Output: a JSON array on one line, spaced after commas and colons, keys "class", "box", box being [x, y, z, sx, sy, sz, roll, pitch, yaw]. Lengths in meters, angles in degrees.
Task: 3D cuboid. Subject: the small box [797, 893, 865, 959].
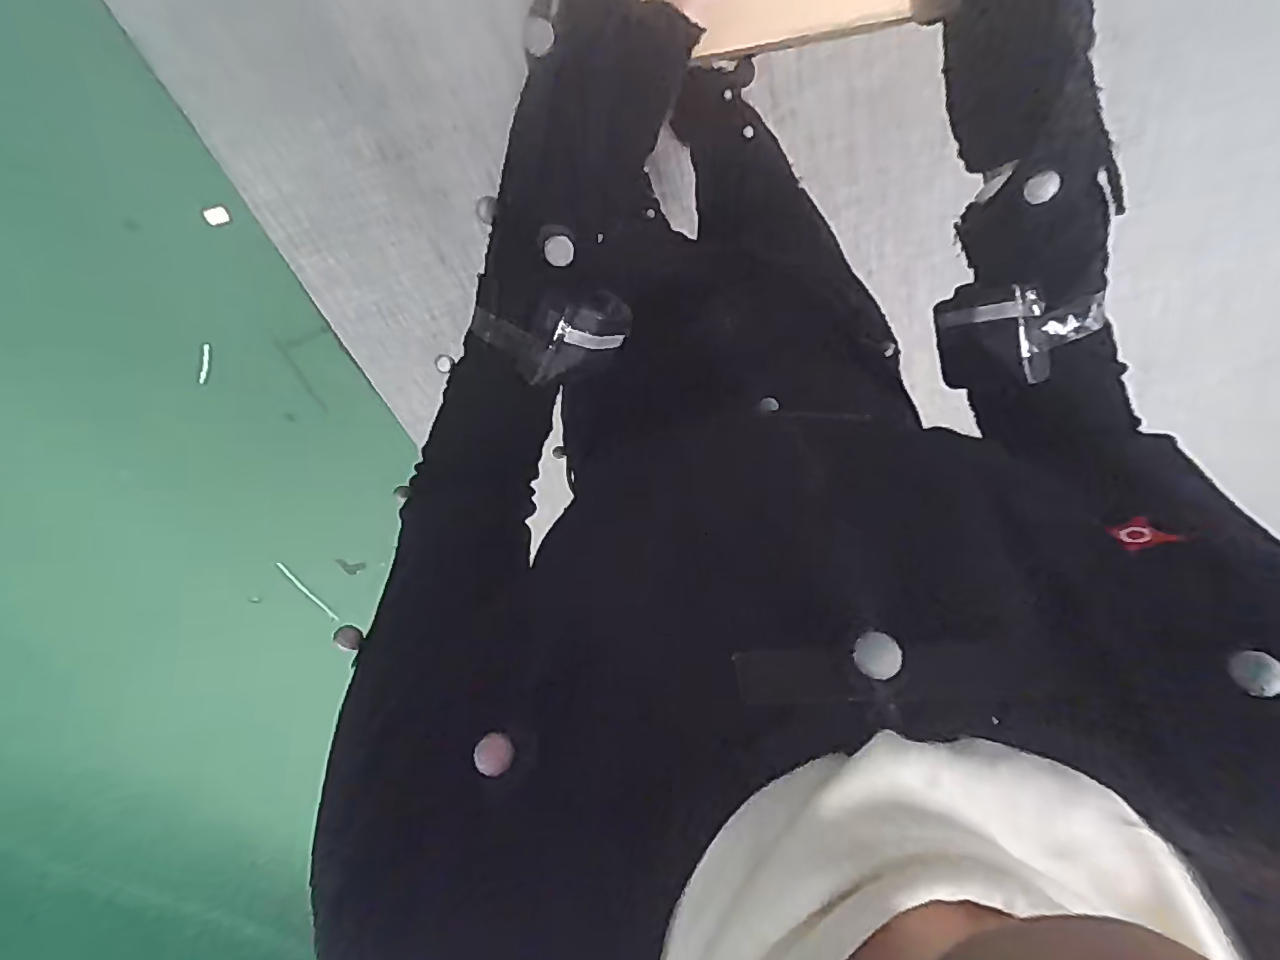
[{"class": "small box", "box": [0.628, 1.501, 1.784, 0.179, 0.176, 0.168, -18, 127, 9]}]
